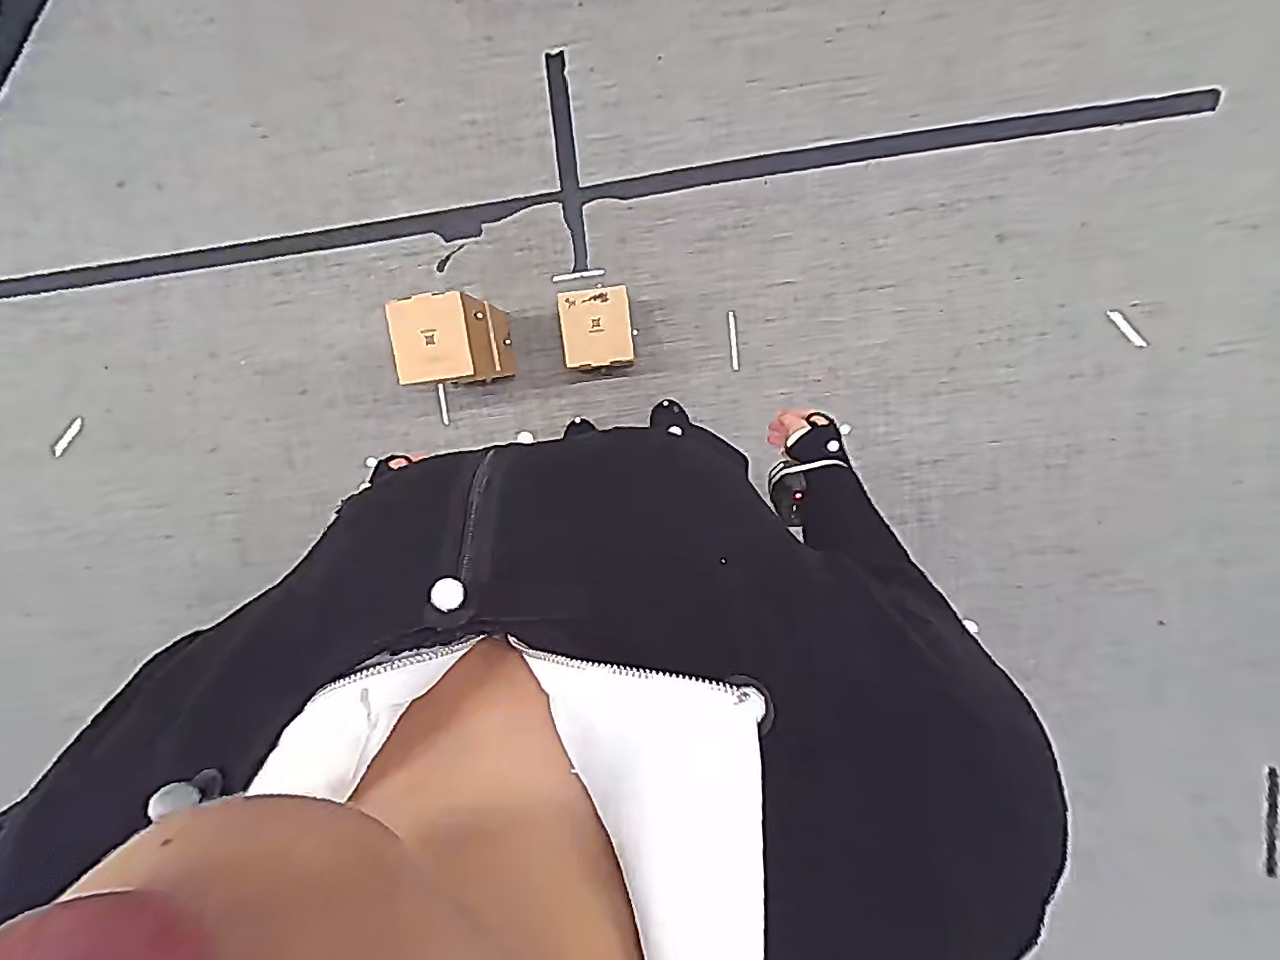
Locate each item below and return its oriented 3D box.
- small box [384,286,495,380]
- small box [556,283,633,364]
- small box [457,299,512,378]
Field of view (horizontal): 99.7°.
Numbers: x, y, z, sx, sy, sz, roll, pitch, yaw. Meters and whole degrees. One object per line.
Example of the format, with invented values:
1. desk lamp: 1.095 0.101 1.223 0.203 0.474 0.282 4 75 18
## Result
1. small box: -0.440 -0.322 1.215 0.168 0.176 0.179 -8 100 4
2. small box: -0.108 -0.387 1.363 0.168 0.176 0.179 -6 100 2
3. small box: -0.434 -0.353 1.374 0.179 0.176 0.168 -8 99 3
